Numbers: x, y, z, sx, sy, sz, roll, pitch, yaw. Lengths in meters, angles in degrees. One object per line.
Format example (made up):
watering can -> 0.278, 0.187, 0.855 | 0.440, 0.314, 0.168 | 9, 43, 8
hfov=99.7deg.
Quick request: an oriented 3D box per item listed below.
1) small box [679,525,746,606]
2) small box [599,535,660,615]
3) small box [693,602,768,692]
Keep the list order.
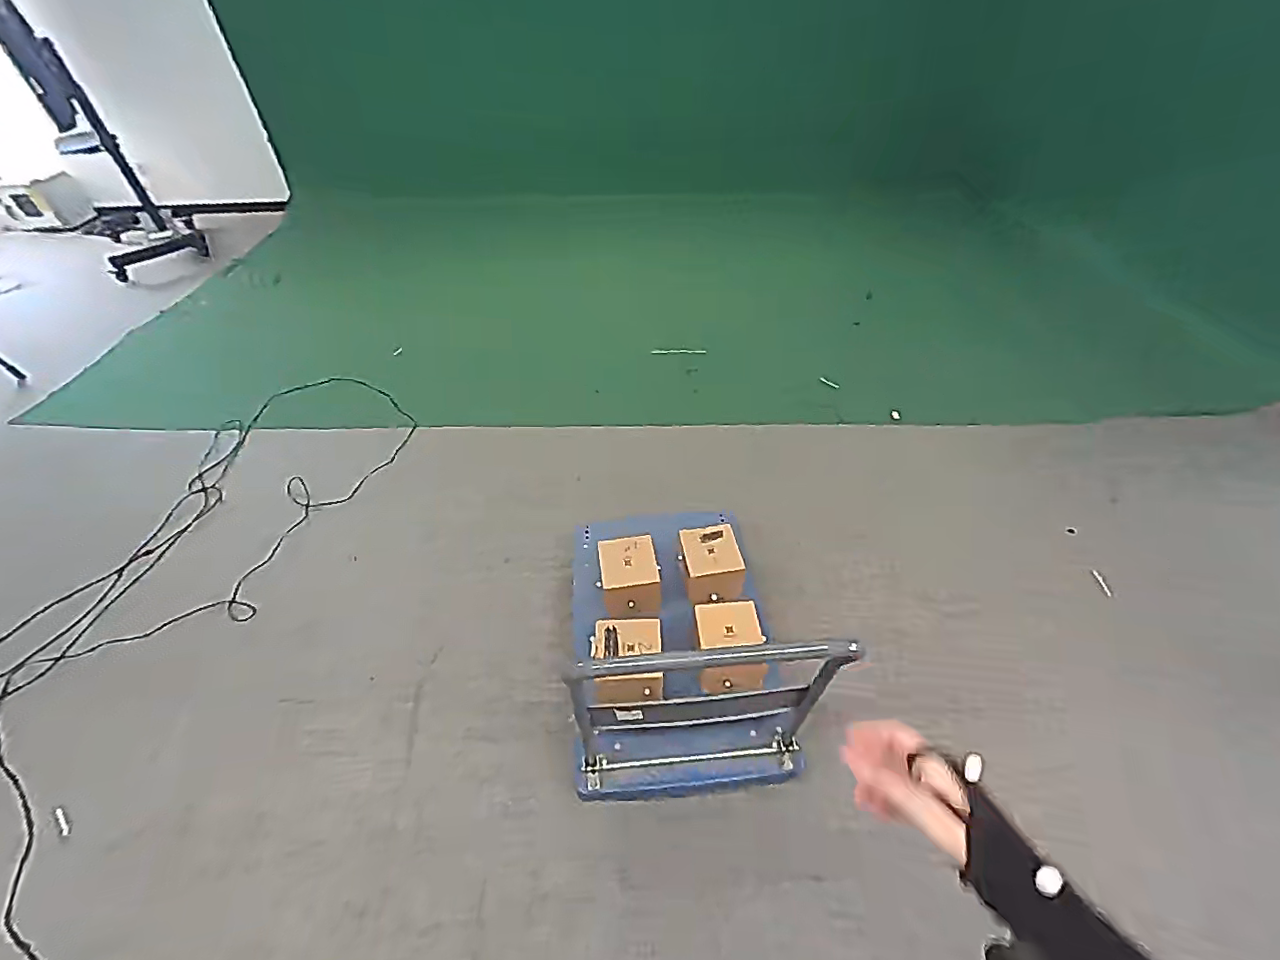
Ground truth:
small box -> 0.217, 0.264, 1.668 | 0.168, 0.176, 0.179 | -7, 47, -4
small box -> -0.032, 0.295, 1.645 | 0.168, 0.176, 0.179 | -6, 46, -6
small box -> 0.240, 0.457, 1.480 | 0.168, 0.176, 0.179 | -3, 46, -2
